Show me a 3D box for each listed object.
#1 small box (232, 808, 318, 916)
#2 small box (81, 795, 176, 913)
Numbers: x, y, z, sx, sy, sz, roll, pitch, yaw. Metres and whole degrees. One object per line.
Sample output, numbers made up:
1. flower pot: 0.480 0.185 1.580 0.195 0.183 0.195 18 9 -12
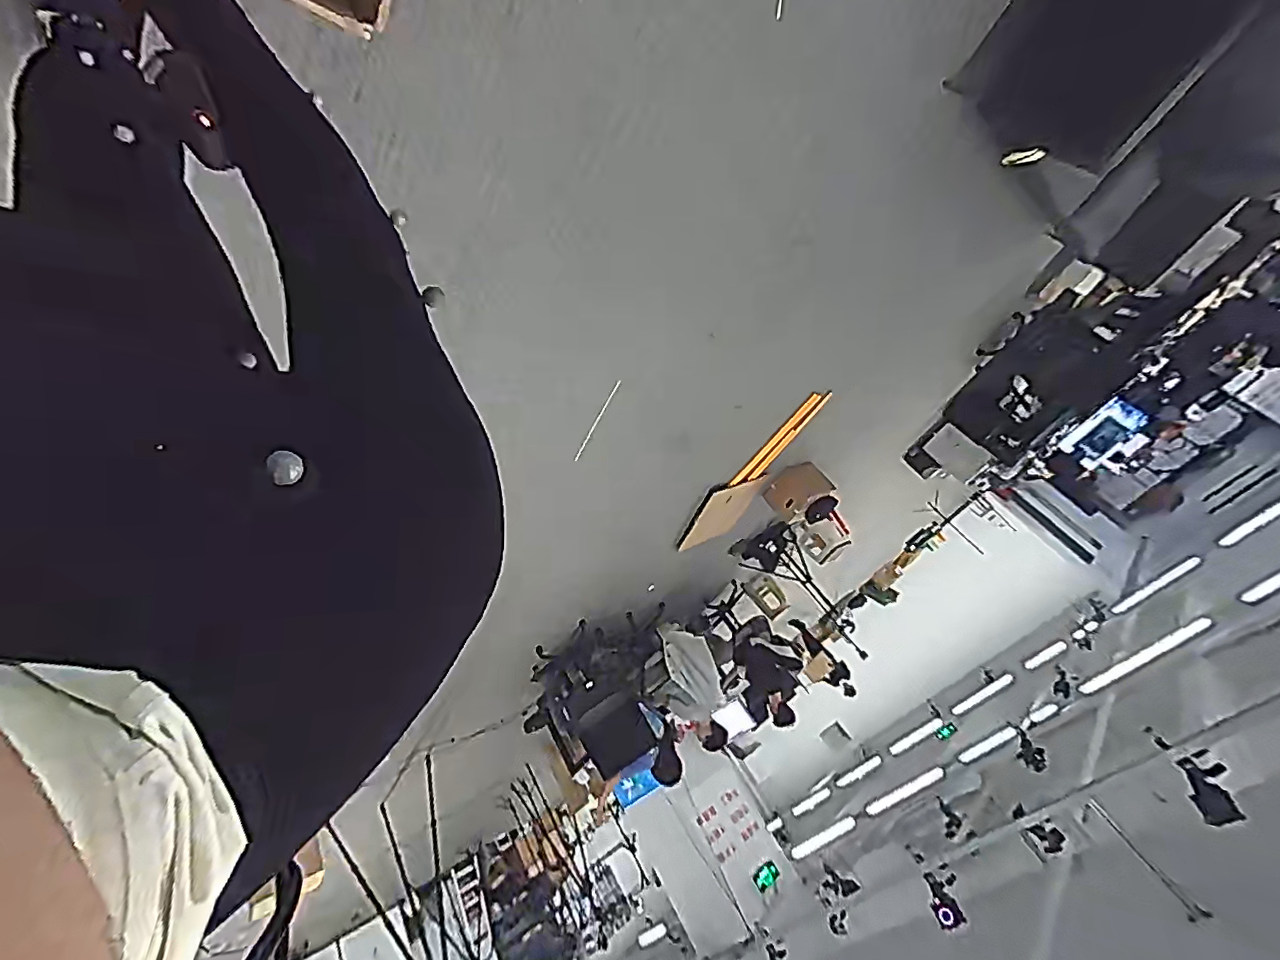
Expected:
1. small box: -1.017 1.053 1.501 0.168 0.176 0.179 -7 140 -44
2. small box: -1.293 0.939 1.371 0.168 0.176 0.179 -6 139 -44
